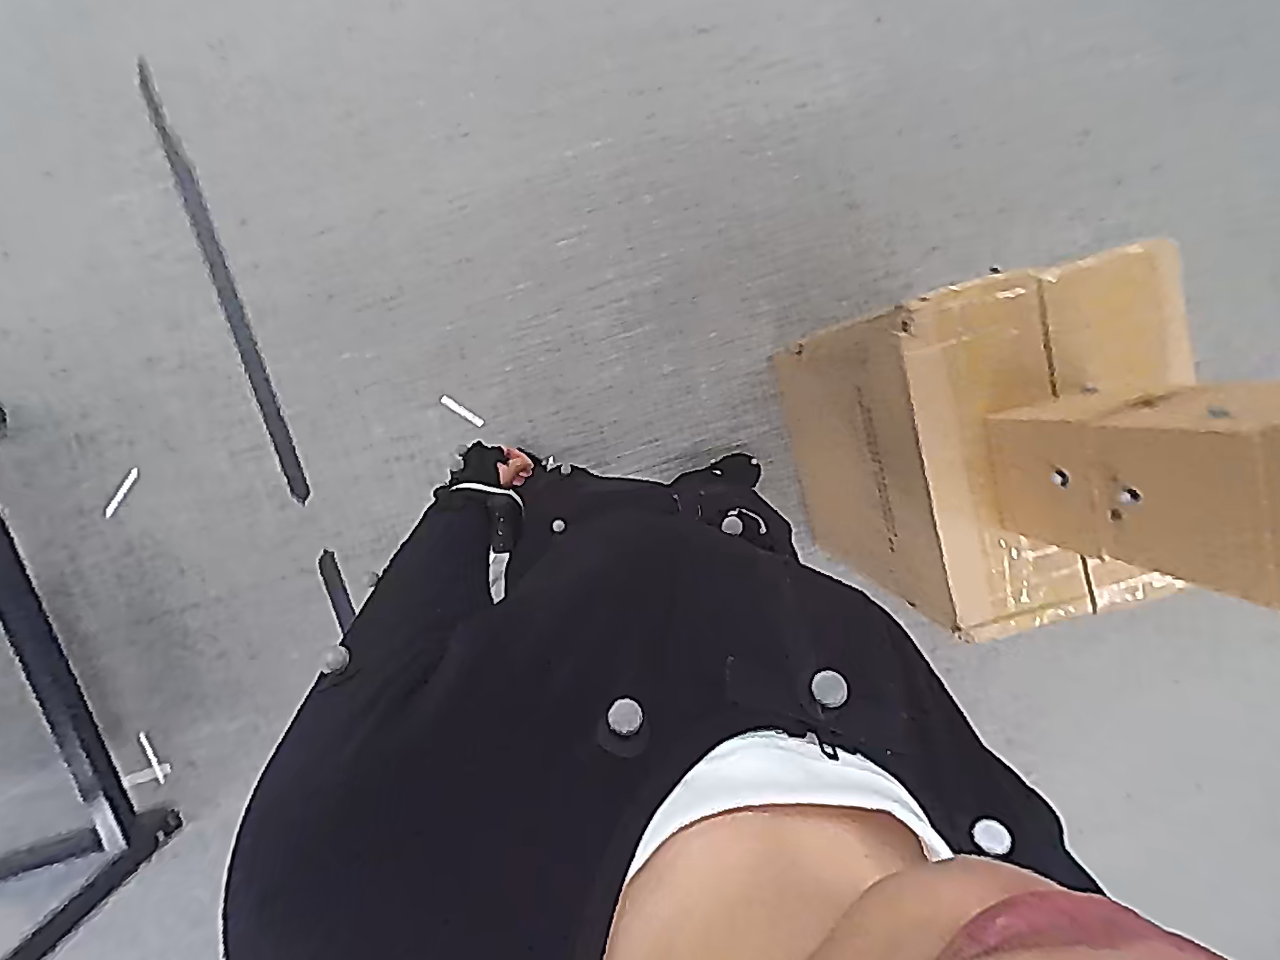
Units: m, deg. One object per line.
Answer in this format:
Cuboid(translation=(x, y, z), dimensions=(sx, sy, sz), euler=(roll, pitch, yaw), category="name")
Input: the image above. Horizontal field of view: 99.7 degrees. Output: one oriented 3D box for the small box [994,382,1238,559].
Cuboid(translation=(0.597, -0.019, 0.700), dimensions=(0.168, 0.176, 0.179), euler=(-15, 98, 0), category="small box")
